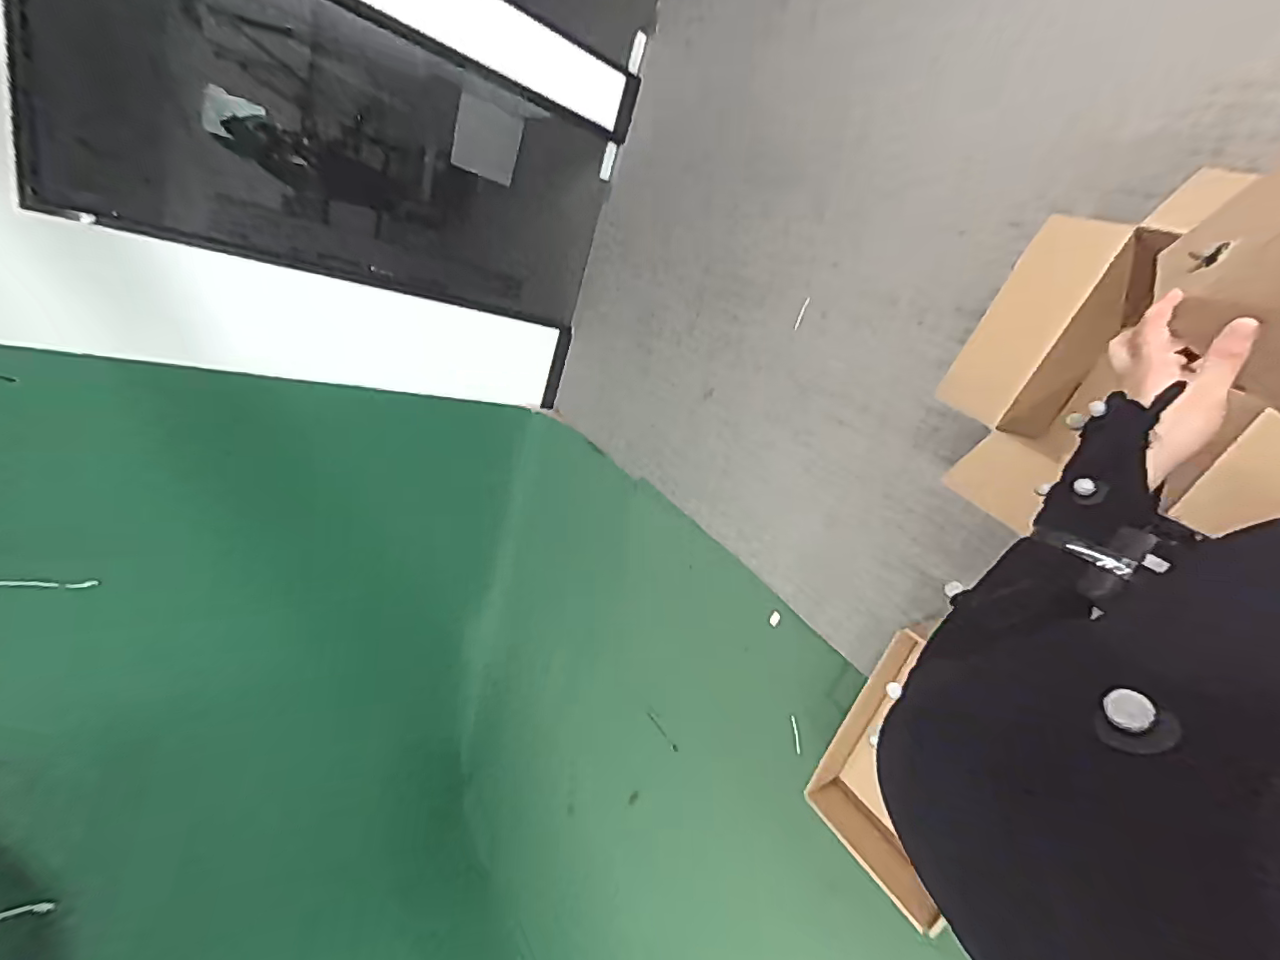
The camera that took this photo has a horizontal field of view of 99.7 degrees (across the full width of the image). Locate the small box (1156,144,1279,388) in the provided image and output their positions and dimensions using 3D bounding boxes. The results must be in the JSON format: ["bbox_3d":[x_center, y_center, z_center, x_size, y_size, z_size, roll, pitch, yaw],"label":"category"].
[{"bbox_3d":[0.555,-0.184,0.409,0.168,0.176,0.179,41,144,7],"label":"small box"}]
